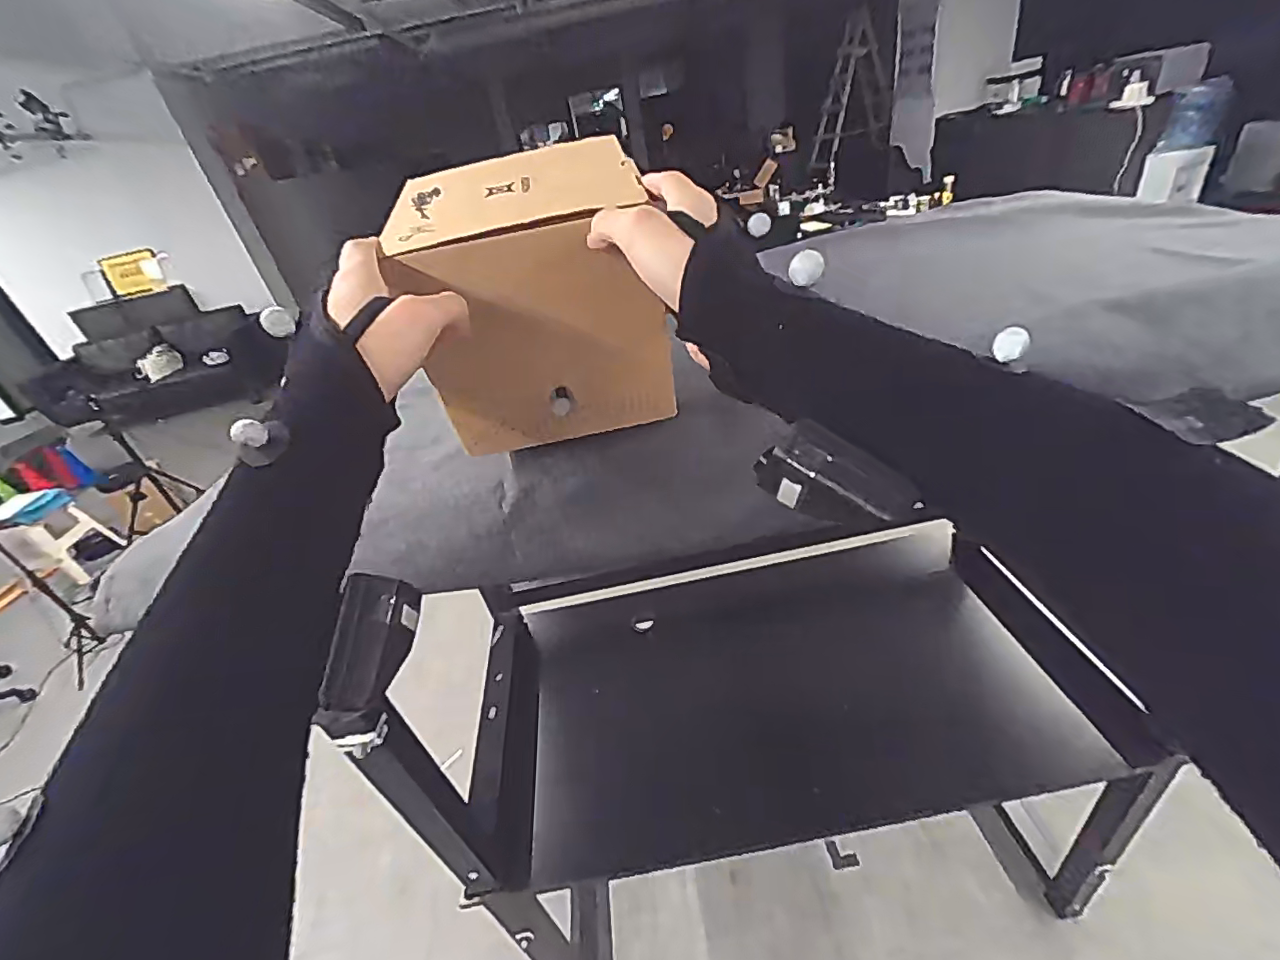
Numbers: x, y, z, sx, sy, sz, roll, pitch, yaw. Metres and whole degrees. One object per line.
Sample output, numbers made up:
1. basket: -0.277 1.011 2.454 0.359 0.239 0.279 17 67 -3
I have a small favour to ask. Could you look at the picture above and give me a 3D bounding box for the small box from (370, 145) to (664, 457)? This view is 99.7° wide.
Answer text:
1. small box: -0.079 -0.142 0.437 0.179 0.176 0.168 -11 44 -1
